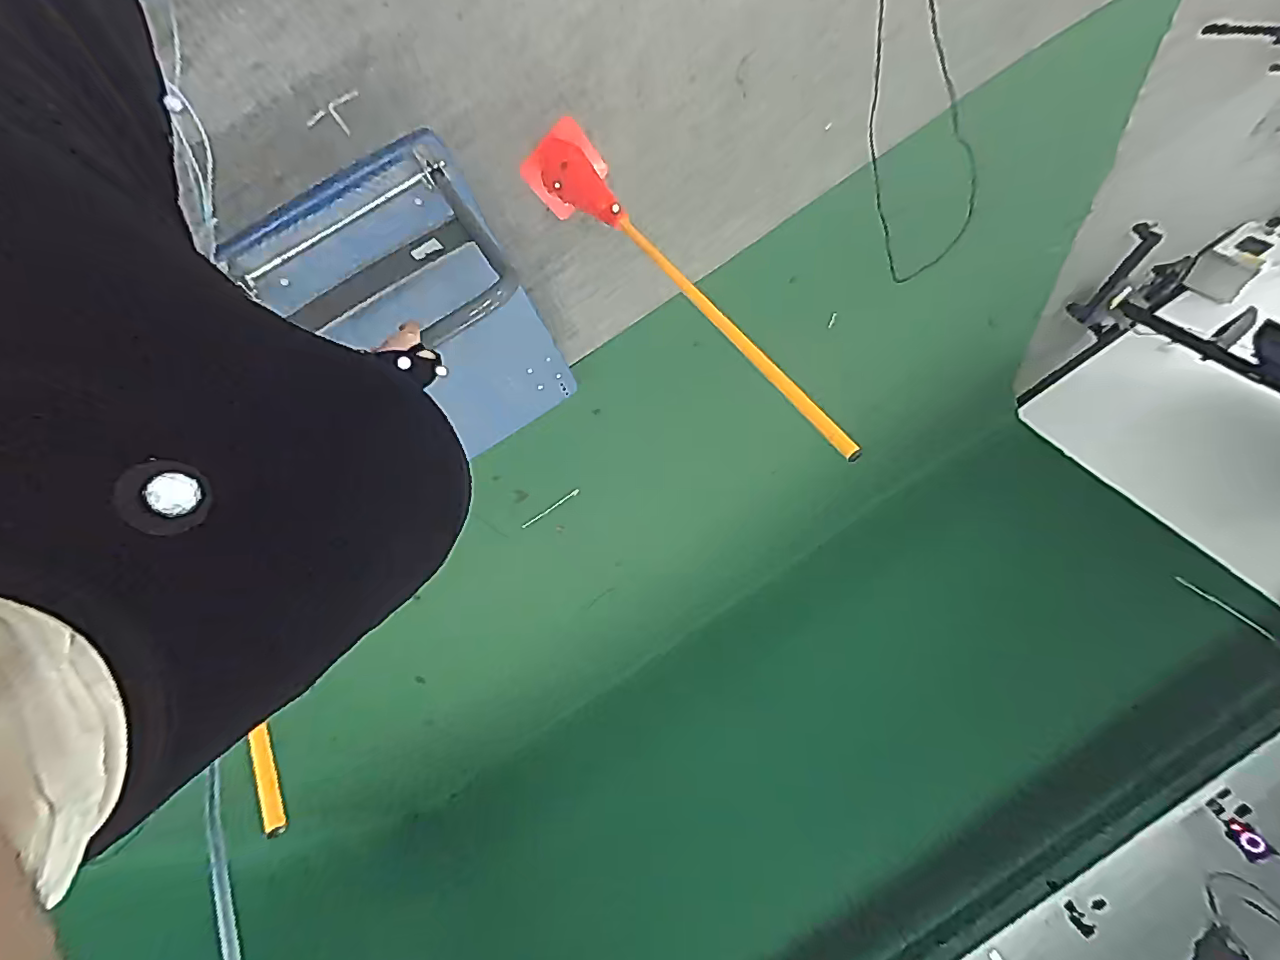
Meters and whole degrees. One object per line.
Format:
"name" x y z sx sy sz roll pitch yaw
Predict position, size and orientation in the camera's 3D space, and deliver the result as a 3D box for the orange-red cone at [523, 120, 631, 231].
"orange-red cone" -0.122 -0.743 1.407 0.199 0.360 0.198 -44 146 11
